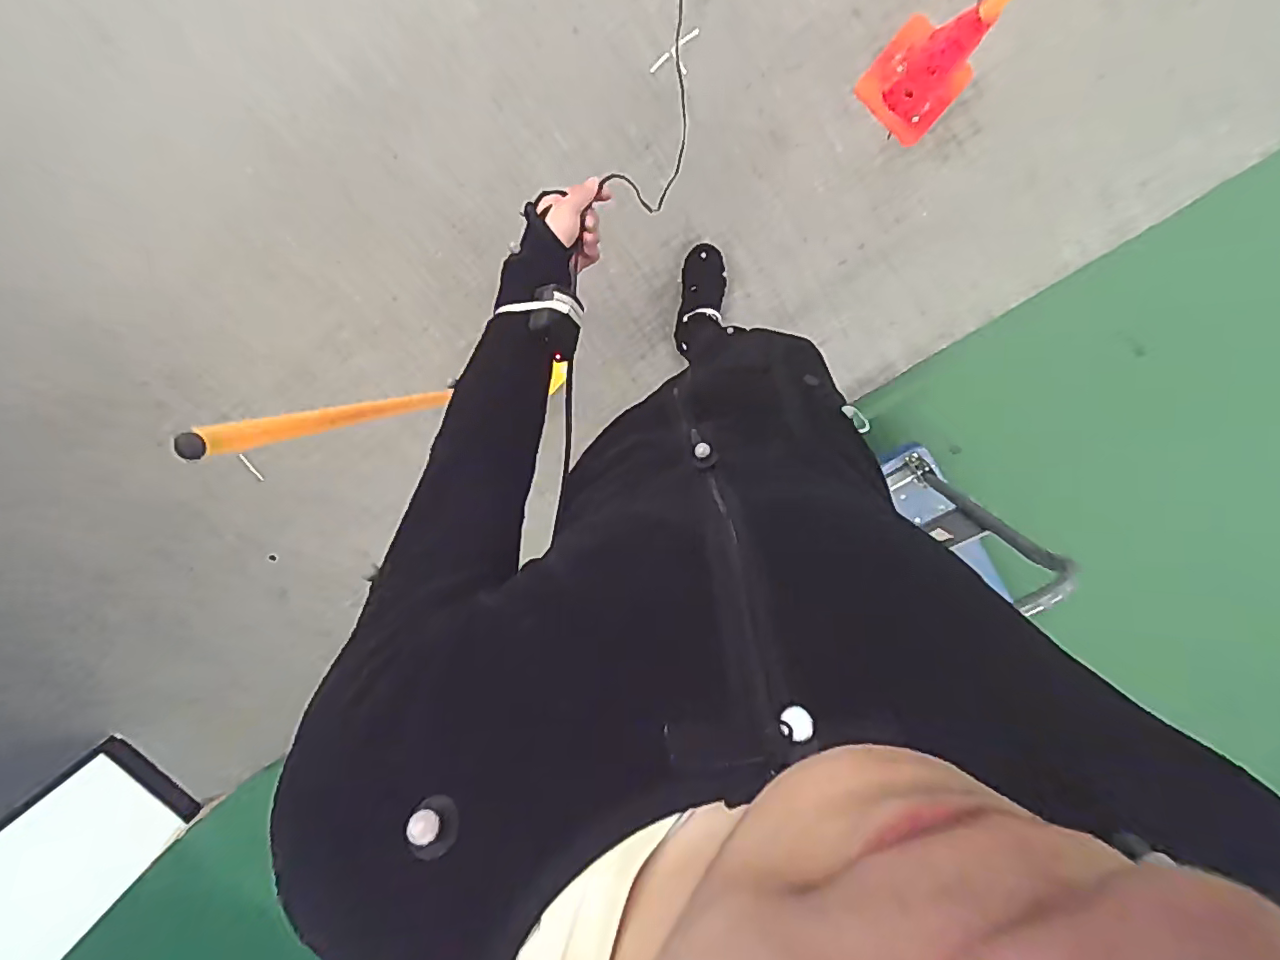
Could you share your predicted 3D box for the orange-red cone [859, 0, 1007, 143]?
[{"bbox_3d":[0.627,-0.873,1.095,0.198,0.360,0.199,40,107,-9],"label":"orange-red cone"}]
